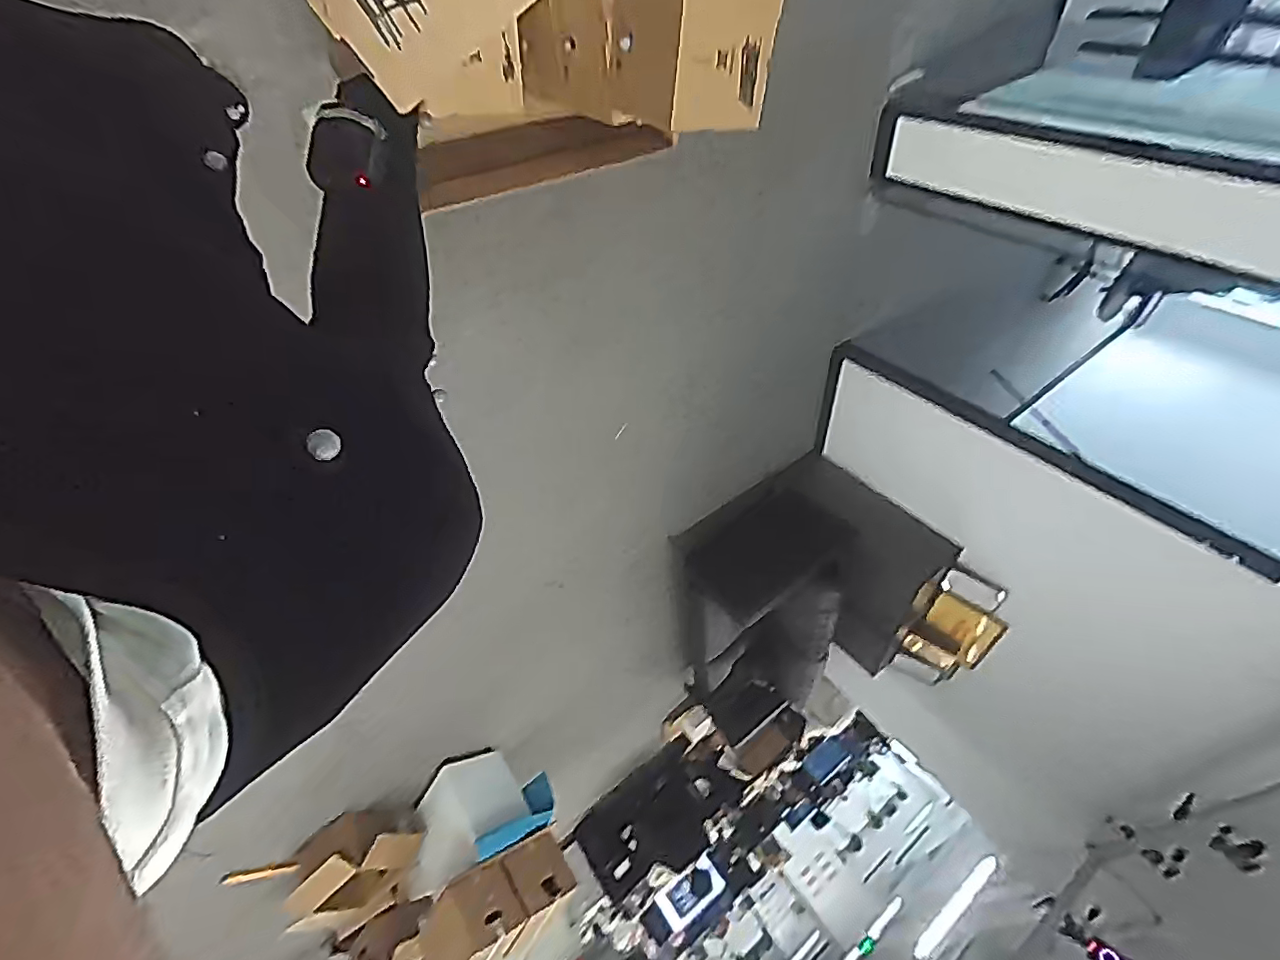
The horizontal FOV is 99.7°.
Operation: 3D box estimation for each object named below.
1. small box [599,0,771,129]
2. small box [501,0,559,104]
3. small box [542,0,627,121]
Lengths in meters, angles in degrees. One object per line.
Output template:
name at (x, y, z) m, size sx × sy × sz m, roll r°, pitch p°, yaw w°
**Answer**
small box at (0.059, -0.637, 0.806) m, size 0.179 × 0.176 × 0.168 m, roll -21°, pitch 138°, yaw -29°
small box at (-0.132, -0.819, 0.998) m, size 0.179 × 0.176 × 0.168 m, roll -28°, pitch 141°, yaw -22°
small box at (-0.040, -0.726, 0.903) m, size 0.179 × 0.176 × 0.168 m, roll -28°, pitch 141°, yaw -21°
